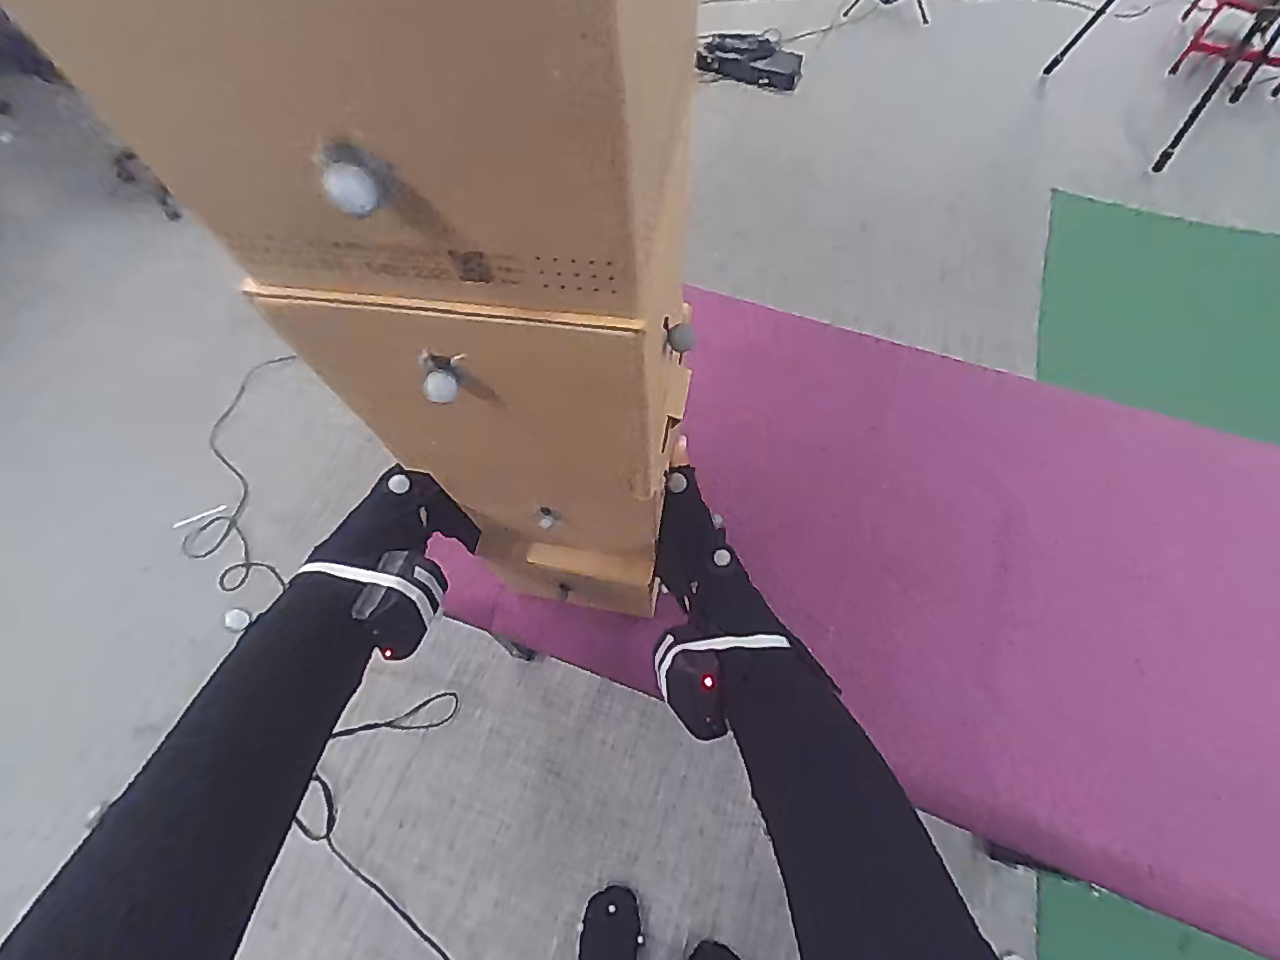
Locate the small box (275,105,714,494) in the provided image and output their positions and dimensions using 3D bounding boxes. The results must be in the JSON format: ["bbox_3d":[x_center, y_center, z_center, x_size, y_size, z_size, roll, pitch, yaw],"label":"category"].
[{"bbox_3d":[-0.058,-0.103,0.330,0.179,0.176,0.168,8,66,6],"label":"small box"}]

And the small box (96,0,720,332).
[{"bbox_3d":[-0.059,-0.181,0.185,0.168,0.176,0.179,9,66,6],"label":"small box"}]

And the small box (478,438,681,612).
[{"bbox_3d":[-0.056,0.046,0.622,0.179,0.176,0.168,10,66,6],"label":"small box"}]
